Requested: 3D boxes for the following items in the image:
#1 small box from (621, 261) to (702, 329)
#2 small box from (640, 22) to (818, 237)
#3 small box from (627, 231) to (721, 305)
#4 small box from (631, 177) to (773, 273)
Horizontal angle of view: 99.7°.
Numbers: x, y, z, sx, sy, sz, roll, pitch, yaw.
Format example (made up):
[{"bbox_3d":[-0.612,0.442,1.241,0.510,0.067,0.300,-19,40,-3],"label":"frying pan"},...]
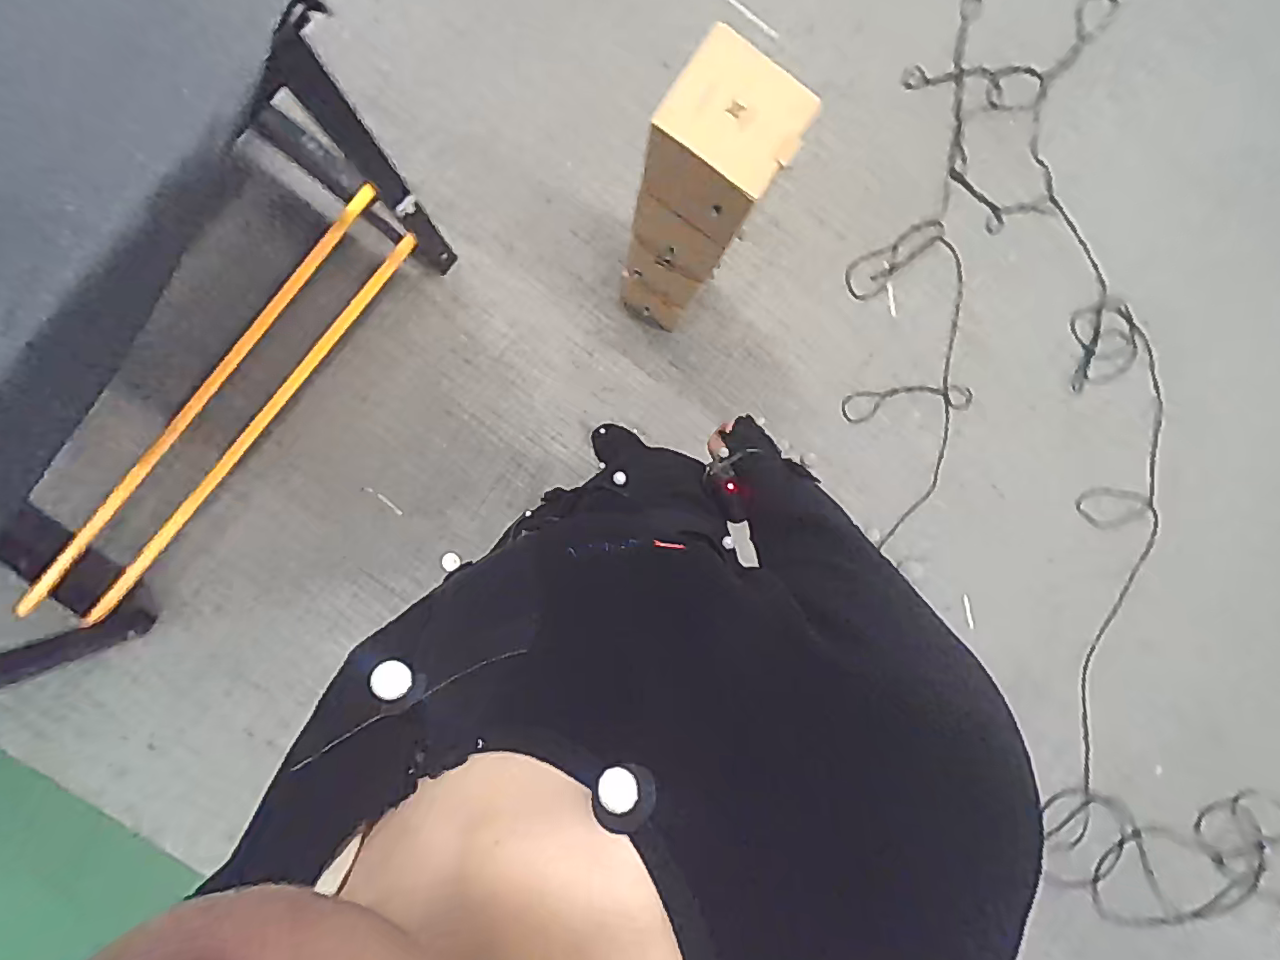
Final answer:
[{"bbox_3d":[0.064,-0.488,1.278,0.168,0.176,0.179,32,90,-4],"label":"small box"},{"bbox_3d":[0.117,-0.488,0.790,0.179,0.176,0.168,33,88,-4],"label":"small box"},{"bbox_3d":[0.085,-0.493,1.115,0.168,0.176,0.179,33,88,-5],"label":"small box"},{"bbox_3d":[0.100,-0.492,0.952,0.179,0.176,0.168,33,89,-6],"label":"small box"}]
